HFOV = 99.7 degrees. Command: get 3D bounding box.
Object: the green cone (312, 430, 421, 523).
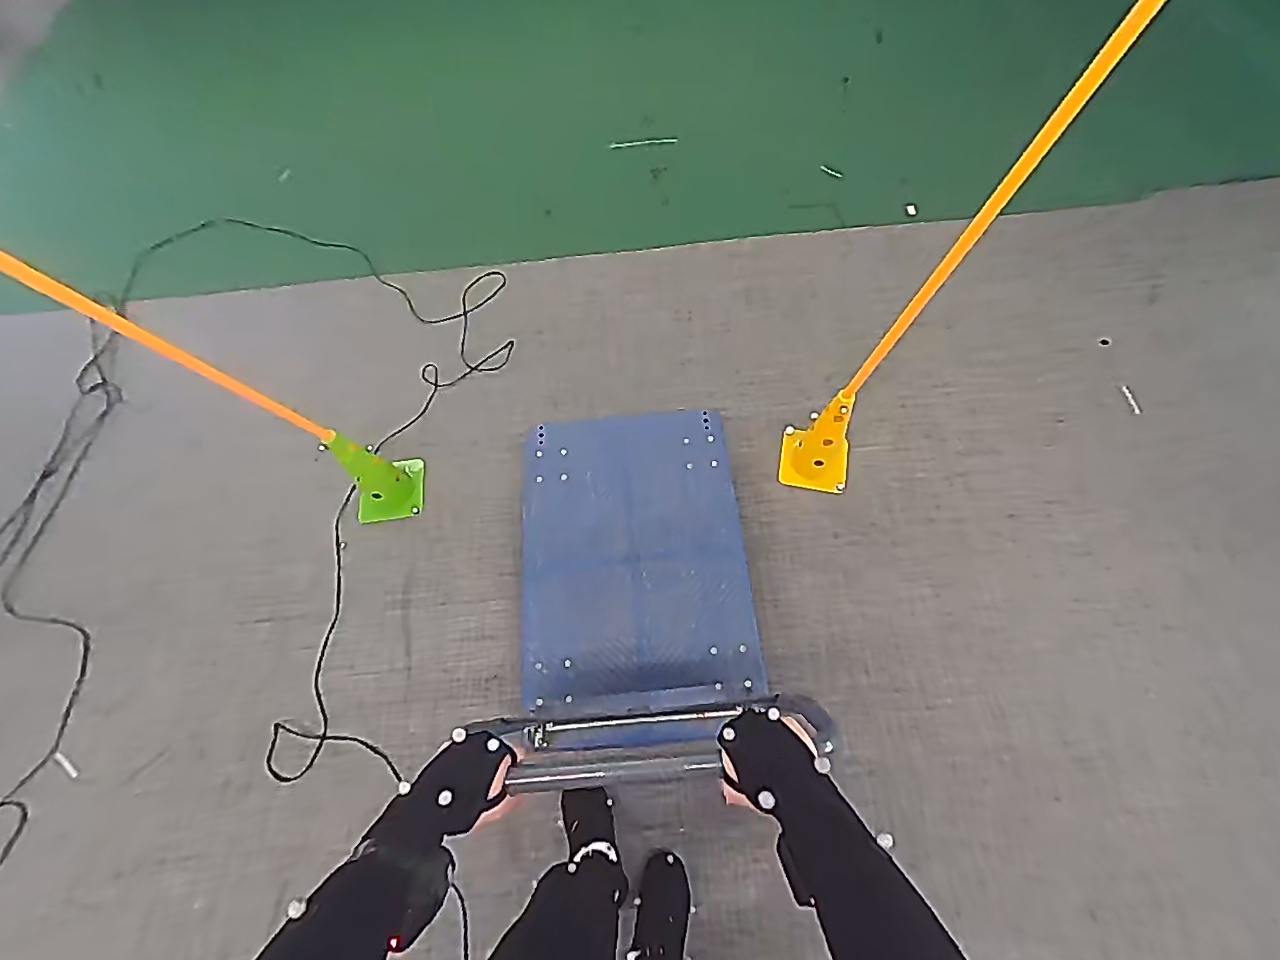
[{"bbox_3d":[-0.803,-0.041,1.549,0.202,0.368,0.200,-10,64,1],"label":"green cone"}]
